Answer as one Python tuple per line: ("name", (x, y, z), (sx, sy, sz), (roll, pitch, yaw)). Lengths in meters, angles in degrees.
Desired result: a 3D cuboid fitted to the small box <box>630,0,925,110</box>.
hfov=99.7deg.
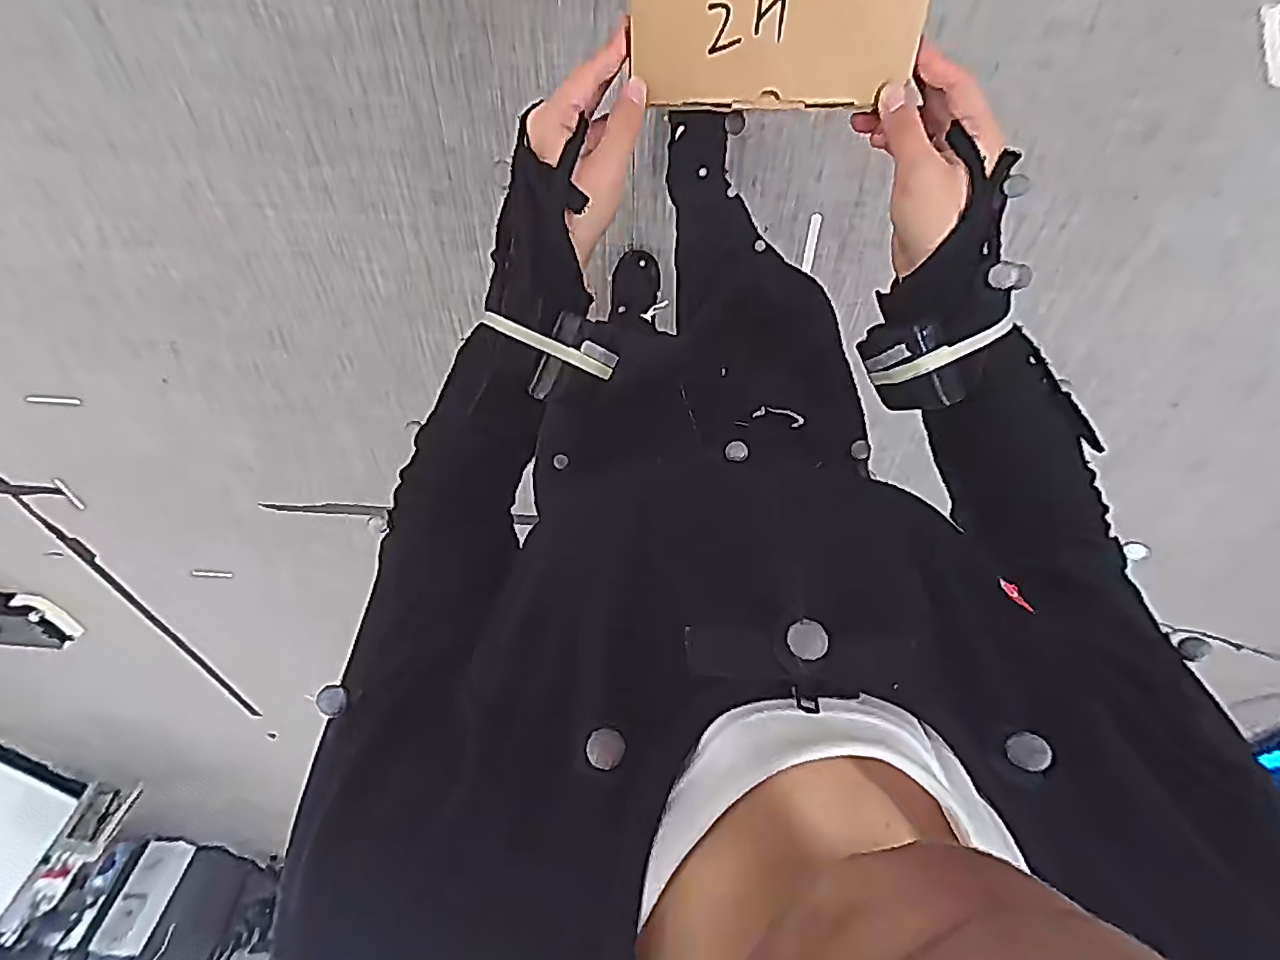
("small box", (0.077, -0.347, 0.346), (0.168, 0.176, 0.179), (0, 124, -1))
